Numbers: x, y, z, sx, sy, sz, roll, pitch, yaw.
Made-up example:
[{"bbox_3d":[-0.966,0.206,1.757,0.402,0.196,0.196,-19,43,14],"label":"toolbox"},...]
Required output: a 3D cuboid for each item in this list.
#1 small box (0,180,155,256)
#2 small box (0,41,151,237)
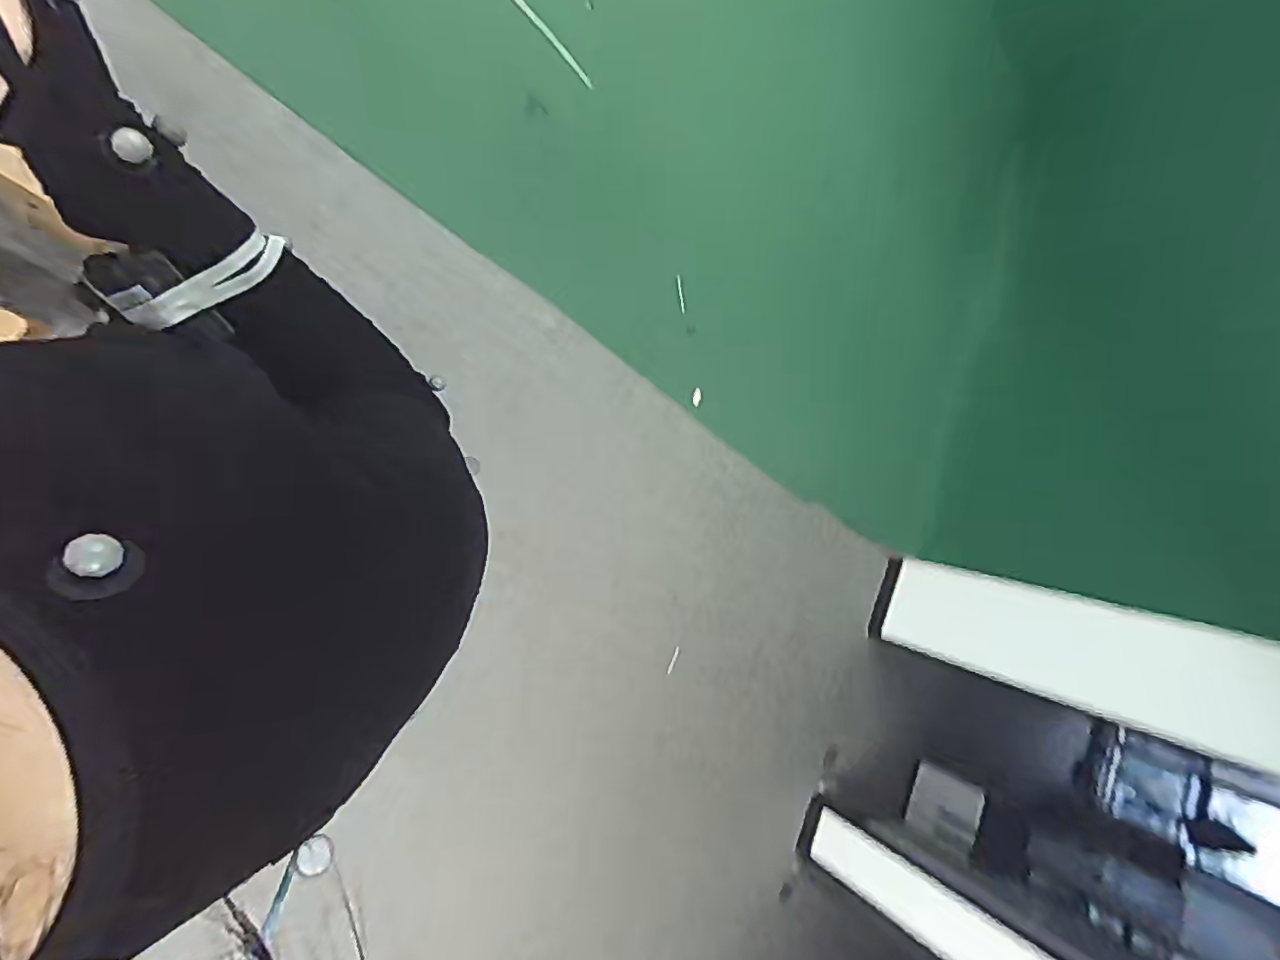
[{"bbox_3d":[-1.007,-0.521,0.953,0.179,0.176,0.168,40,72,-35],"label":"small box"},{"bbox_3d":[-0.899,-0.501,0.830,0.179,0.176,0.168,36,74,-37],"label":"small box"}]
